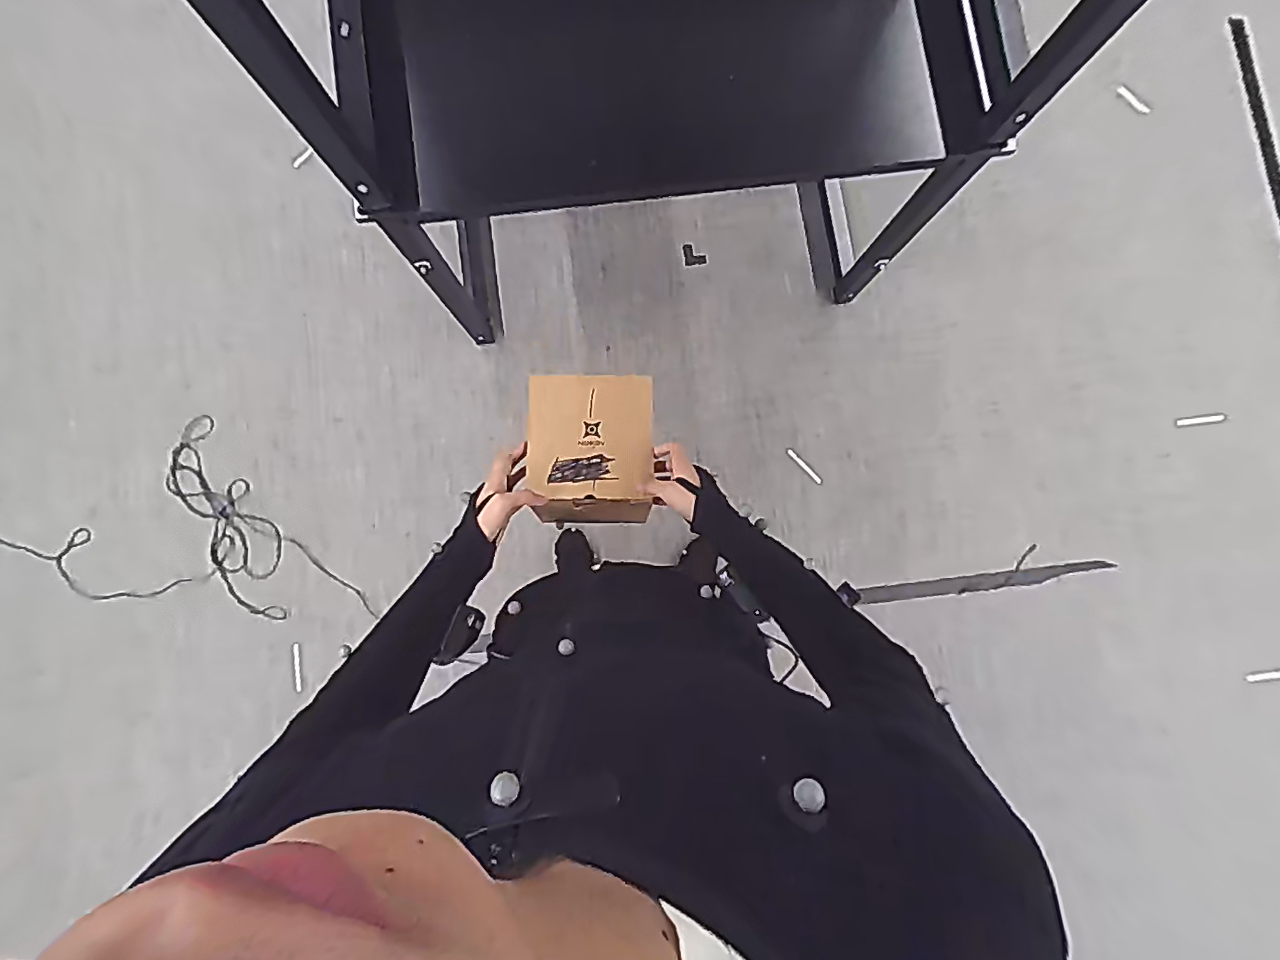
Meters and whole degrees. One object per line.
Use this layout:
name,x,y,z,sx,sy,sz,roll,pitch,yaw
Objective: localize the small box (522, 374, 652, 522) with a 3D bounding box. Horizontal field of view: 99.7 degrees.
small box,-0.069,-0.036,0.779,0.168,0.176,0.179,1,75,-3
